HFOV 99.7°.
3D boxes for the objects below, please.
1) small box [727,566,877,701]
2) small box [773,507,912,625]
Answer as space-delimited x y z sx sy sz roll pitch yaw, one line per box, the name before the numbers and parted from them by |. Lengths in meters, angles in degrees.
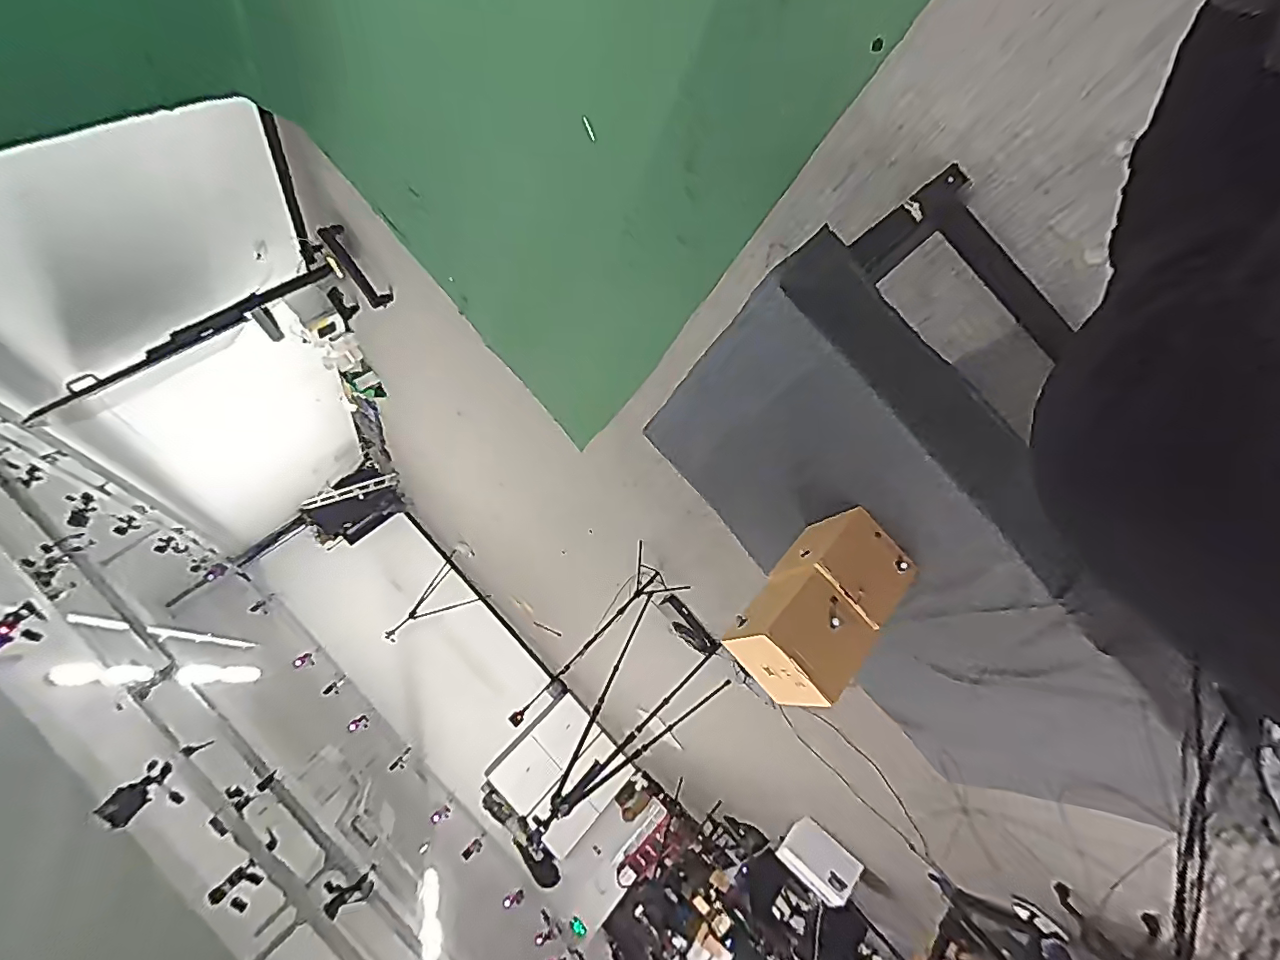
small box | 0.302 0.287 1.015 0.168 0.176 0.179 47 152 2
small box | 0.408 0.177 1.078 0.168 0.176 0.179 48 154 1
